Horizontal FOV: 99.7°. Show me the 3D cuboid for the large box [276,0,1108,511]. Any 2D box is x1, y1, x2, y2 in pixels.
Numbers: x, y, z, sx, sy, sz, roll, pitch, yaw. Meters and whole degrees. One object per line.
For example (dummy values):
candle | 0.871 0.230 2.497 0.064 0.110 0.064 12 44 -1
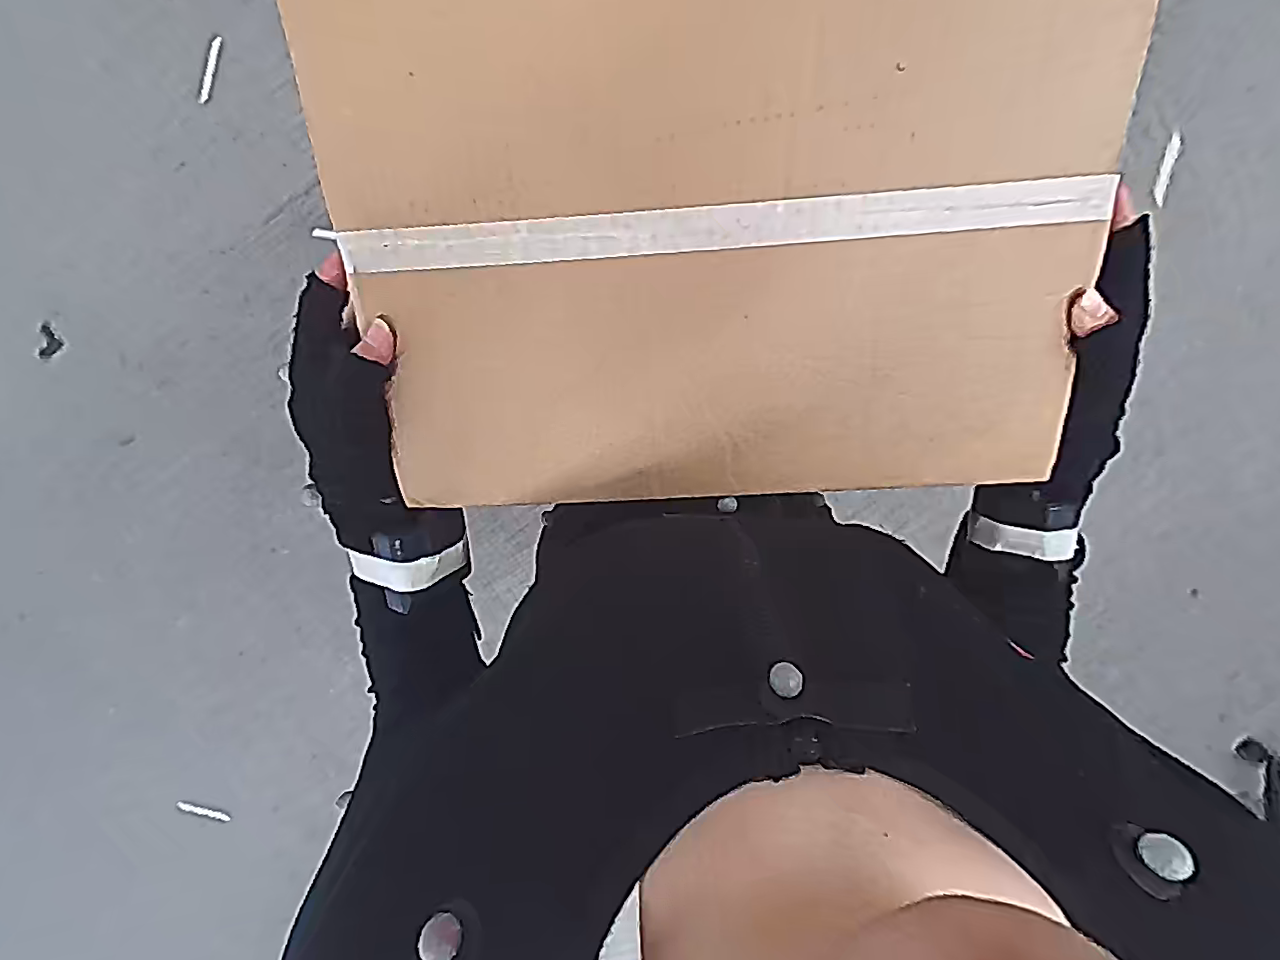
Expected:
large box | 0.035 -0.191 0.437 0.408 0.320 0.320 -4 111 3
